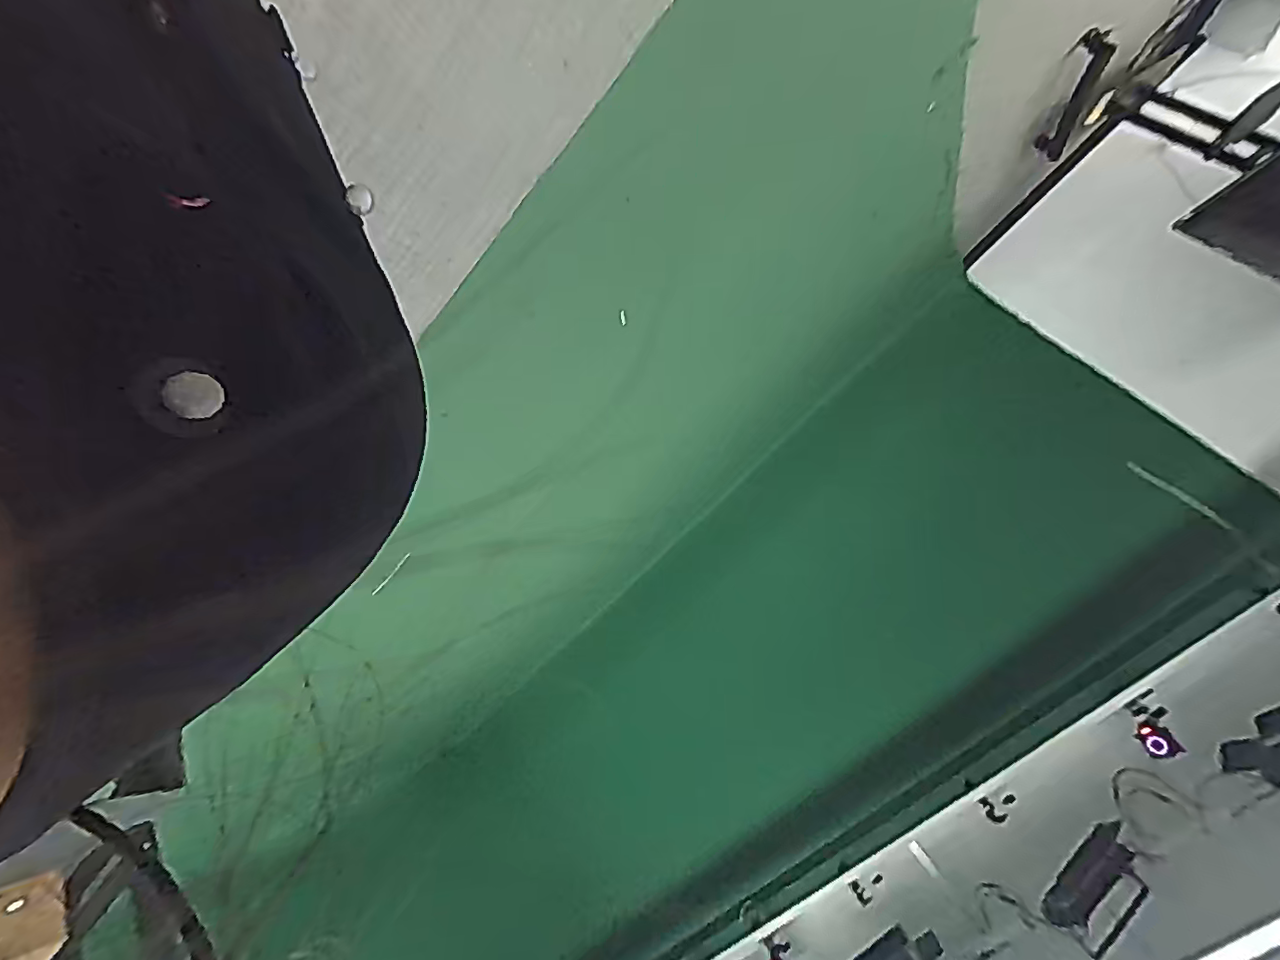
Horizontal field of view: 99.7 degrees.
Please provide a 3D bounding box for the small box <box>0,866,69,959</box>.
[{"bbox_3d":[-1.499,1.064,1.273,0.179,0.176,0.168,-46,155,16],"label":"small box"}]
